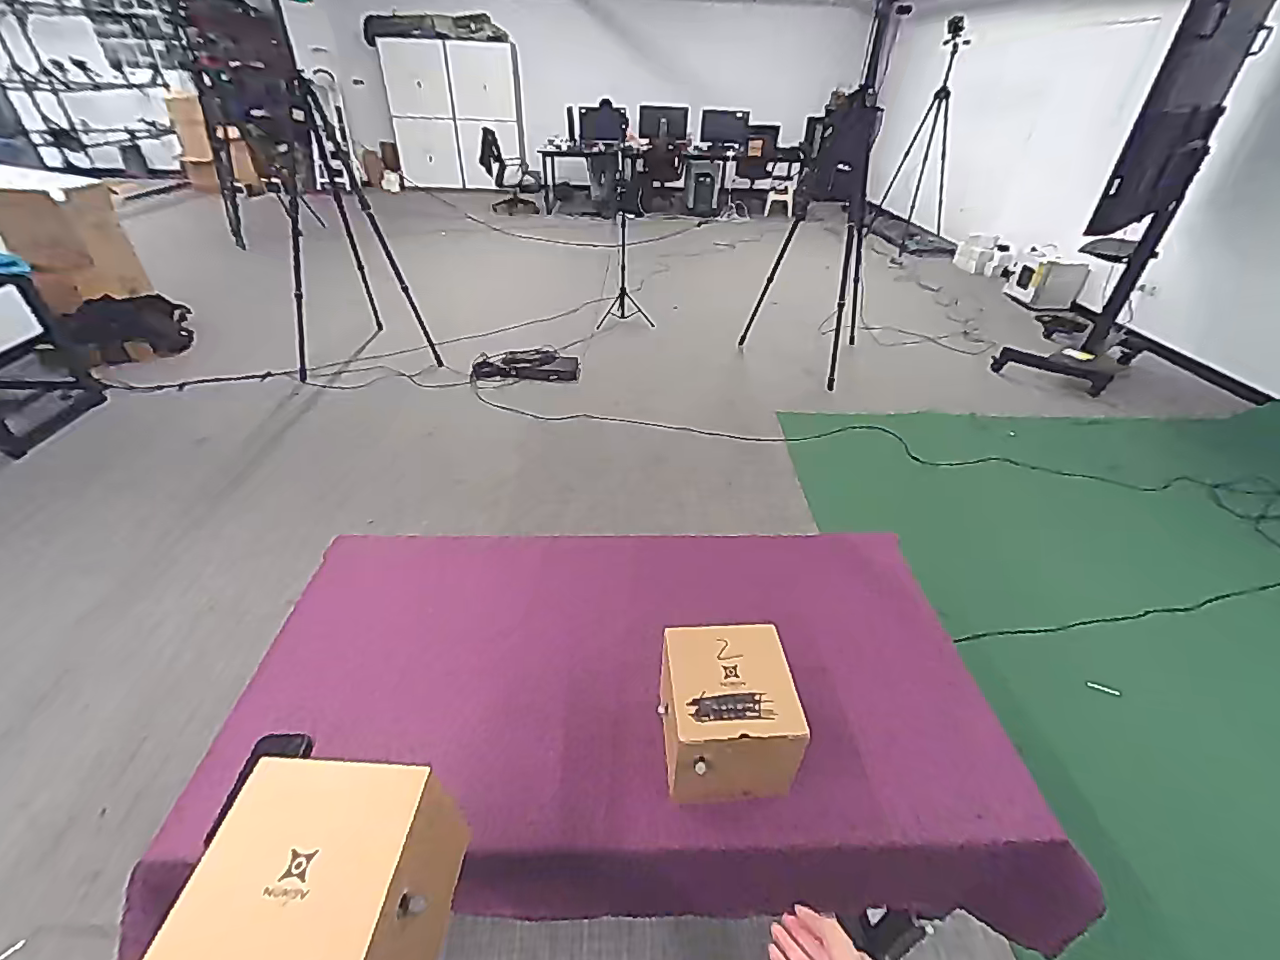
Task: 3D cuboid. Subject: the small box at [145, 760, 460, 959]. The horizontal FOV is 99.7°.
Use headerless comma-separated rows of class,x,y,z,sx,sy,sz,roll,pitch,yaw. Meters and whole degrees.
small box,-0.275,0.382,0.484,0.168,0.176,0.179,3,40,3
